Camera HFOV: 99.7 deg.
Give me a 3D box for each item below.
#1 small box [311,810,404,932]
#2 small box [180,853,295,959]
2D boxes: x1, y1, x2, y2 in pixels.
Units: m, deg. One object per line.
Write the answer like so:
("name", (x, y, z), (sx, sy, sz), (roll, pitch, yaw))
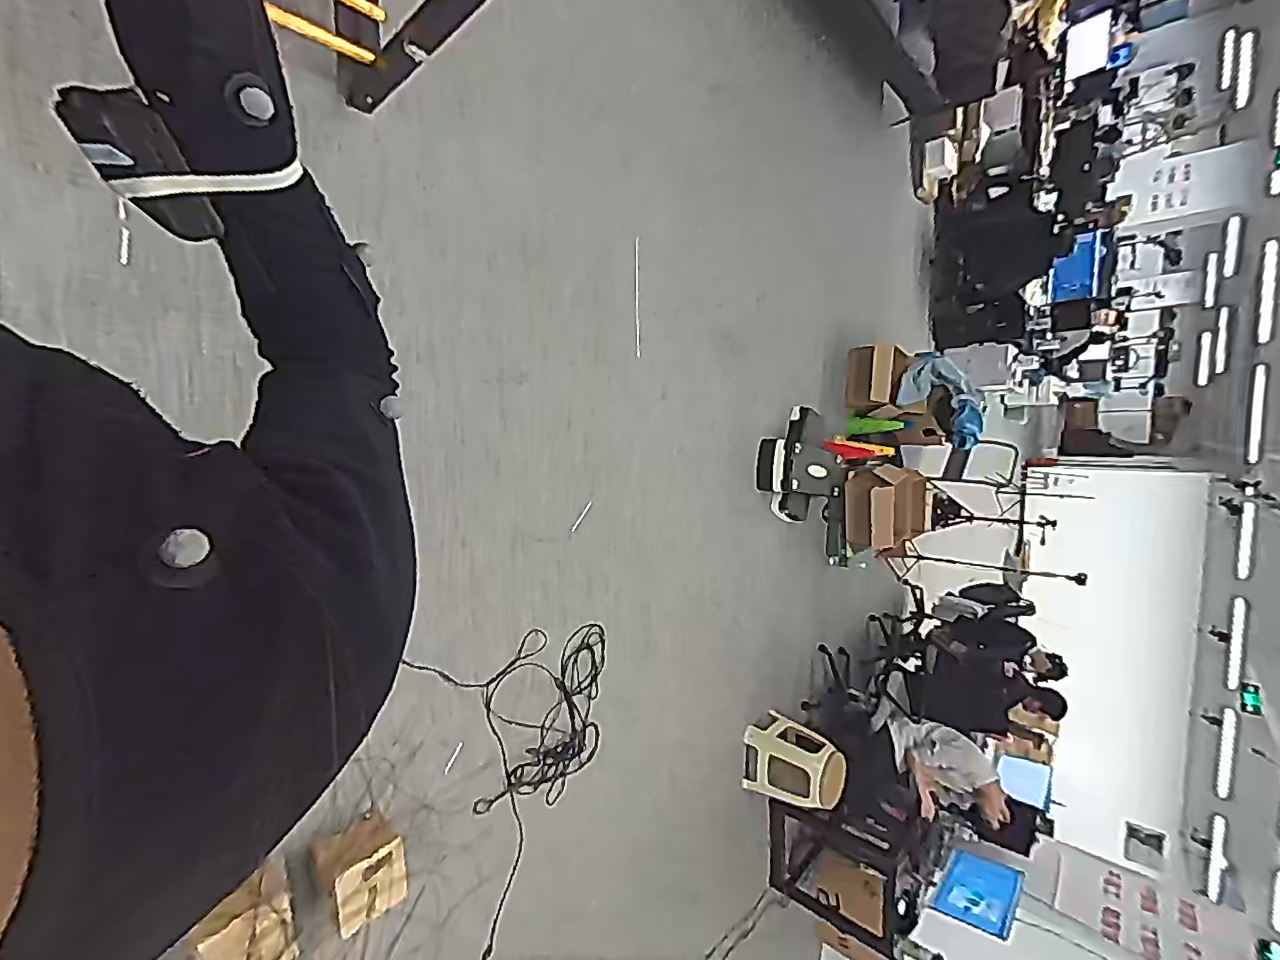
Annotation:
("small box", (-0.742, 1.007, 1.417), (0.168, 0.176, 0.179), (-10, 101, -48))
("small box", (-0.912, 1.007, 1.226), (0.168, 0.176, 0.179), (-14, 103, -48))
